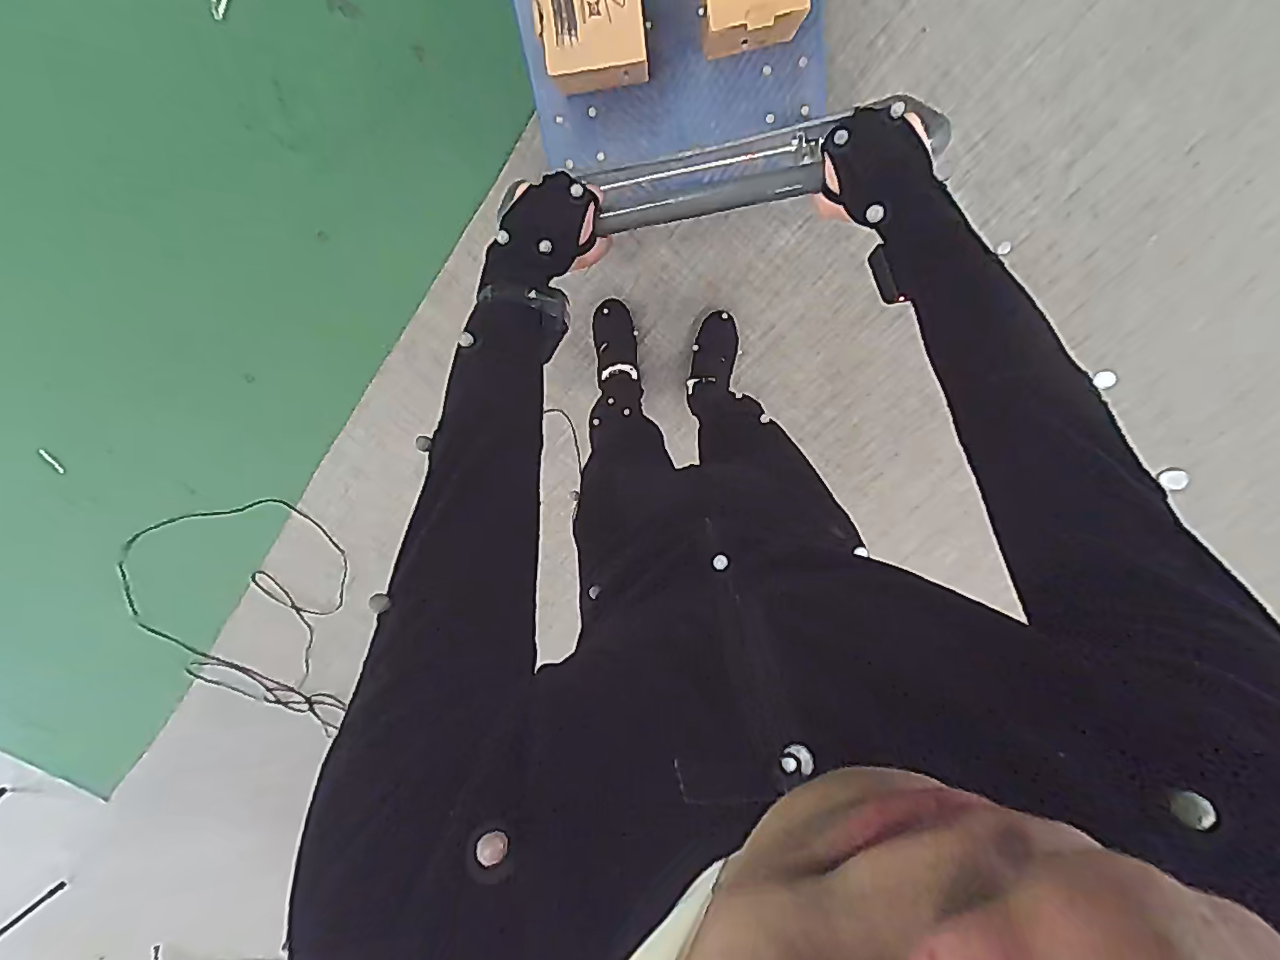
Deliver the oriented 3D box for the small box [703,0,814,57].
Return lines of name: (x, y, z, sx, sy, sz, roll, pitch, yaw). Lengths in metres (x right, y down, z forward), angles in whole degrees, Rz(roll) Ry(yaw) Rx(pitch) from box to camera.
small box: (0.193, -0.867, 0.926, 0.168, 0.176, 0.179, -8, 116, 7)
